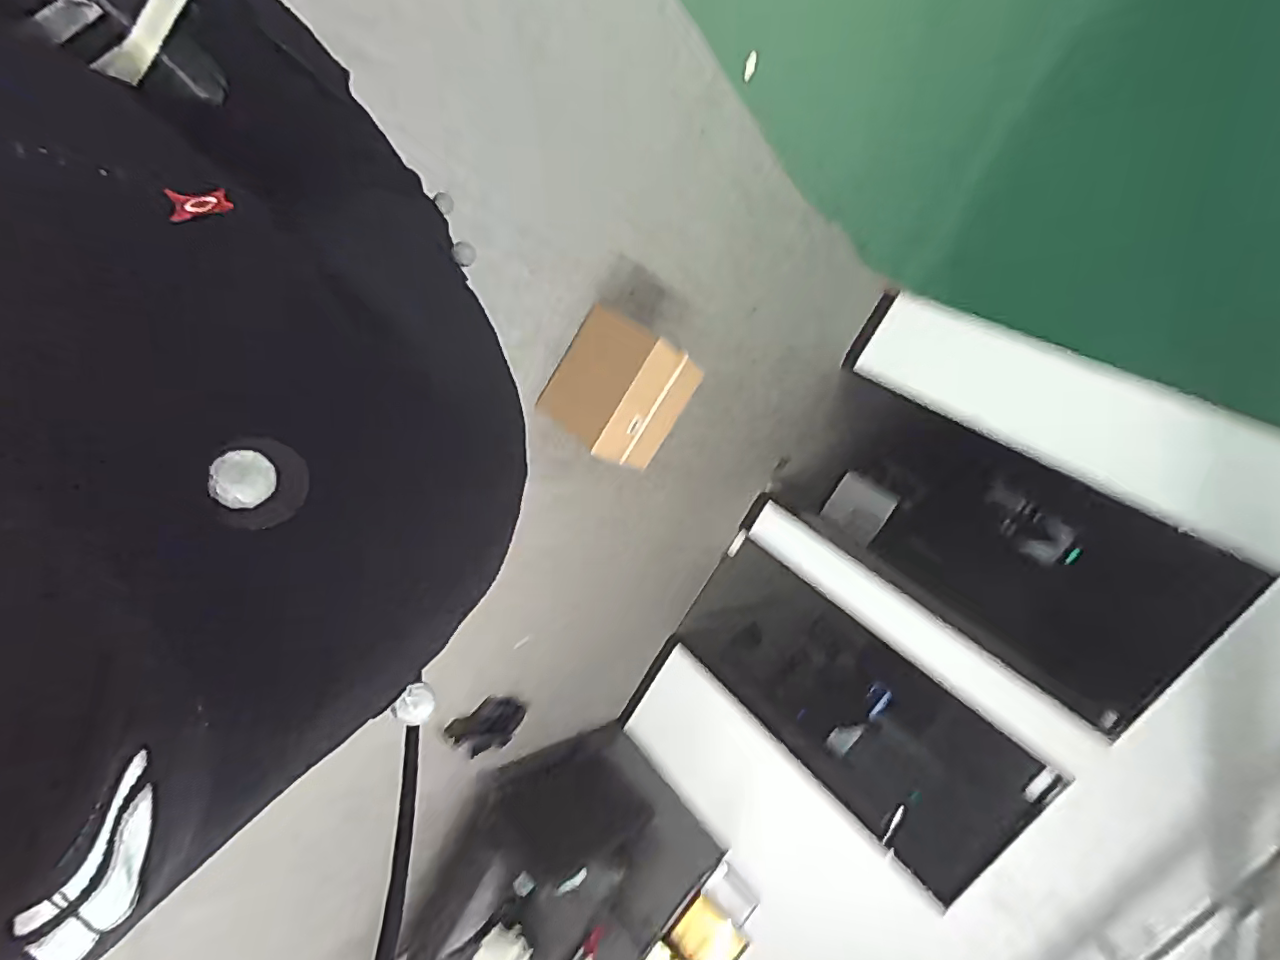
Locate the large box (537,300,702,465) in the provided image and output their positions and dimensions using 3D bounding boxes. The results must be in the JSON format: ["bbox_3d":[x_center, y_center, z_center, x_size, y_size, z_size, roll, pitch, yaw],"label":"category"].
[{"bbox_3d":[-0.070,-0.318,1.812,0.320,0.320,0.408,16,111,-55],"label":"large box"}]
